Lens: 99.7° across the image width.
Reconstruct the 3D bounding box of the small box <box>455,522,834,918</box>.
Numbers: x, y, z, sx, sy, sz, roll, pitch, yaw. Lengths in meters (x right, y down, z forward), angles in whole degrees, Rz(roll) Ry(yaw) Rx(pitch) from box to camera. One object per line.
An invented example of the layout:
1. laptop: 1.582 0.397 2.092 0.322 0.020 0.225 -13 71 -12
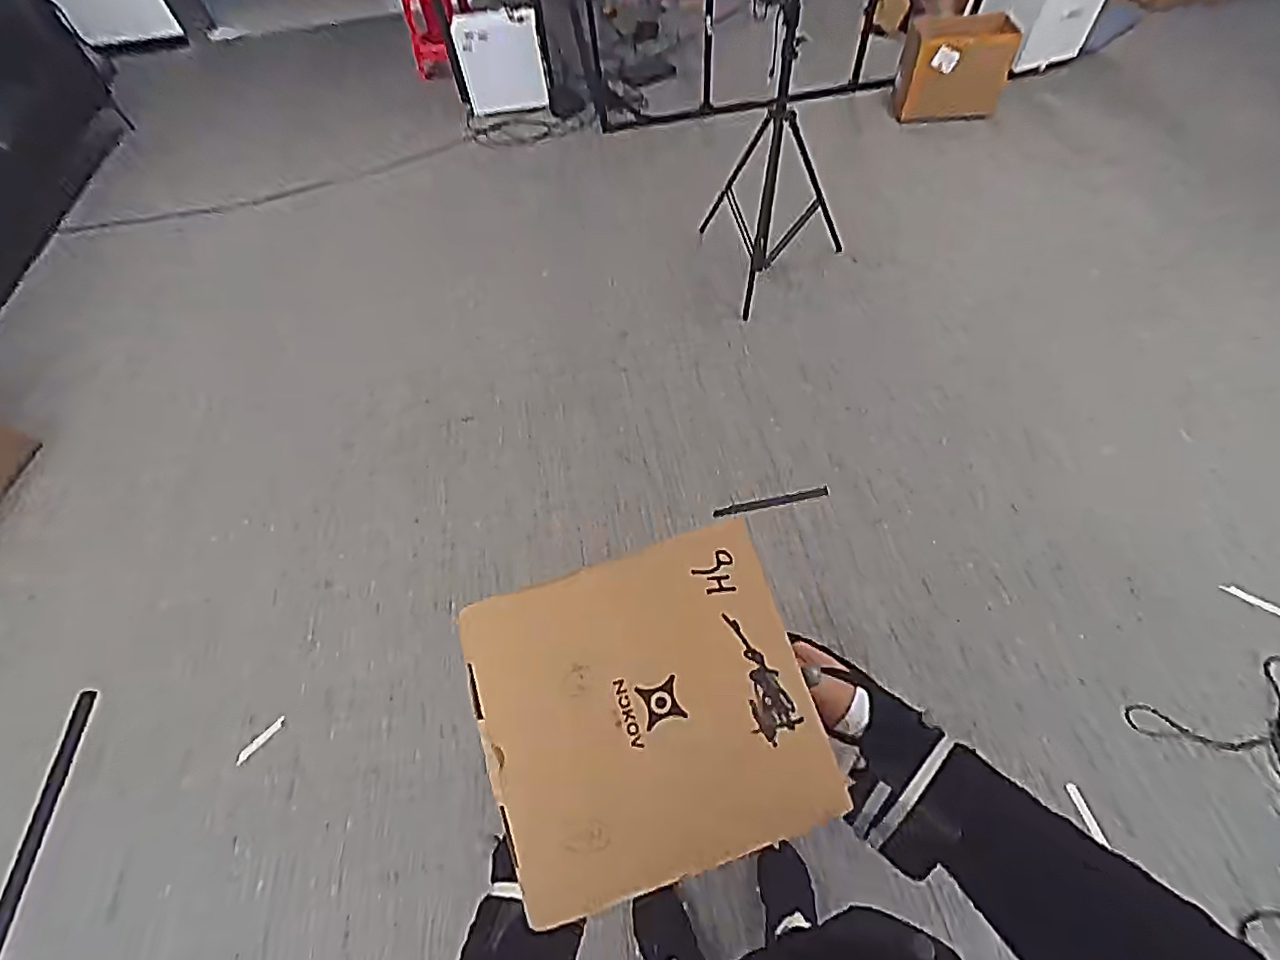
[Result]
1. small box: 0.000 0.144 0.375 0.179 0.176 0.168 -18 76 -4
